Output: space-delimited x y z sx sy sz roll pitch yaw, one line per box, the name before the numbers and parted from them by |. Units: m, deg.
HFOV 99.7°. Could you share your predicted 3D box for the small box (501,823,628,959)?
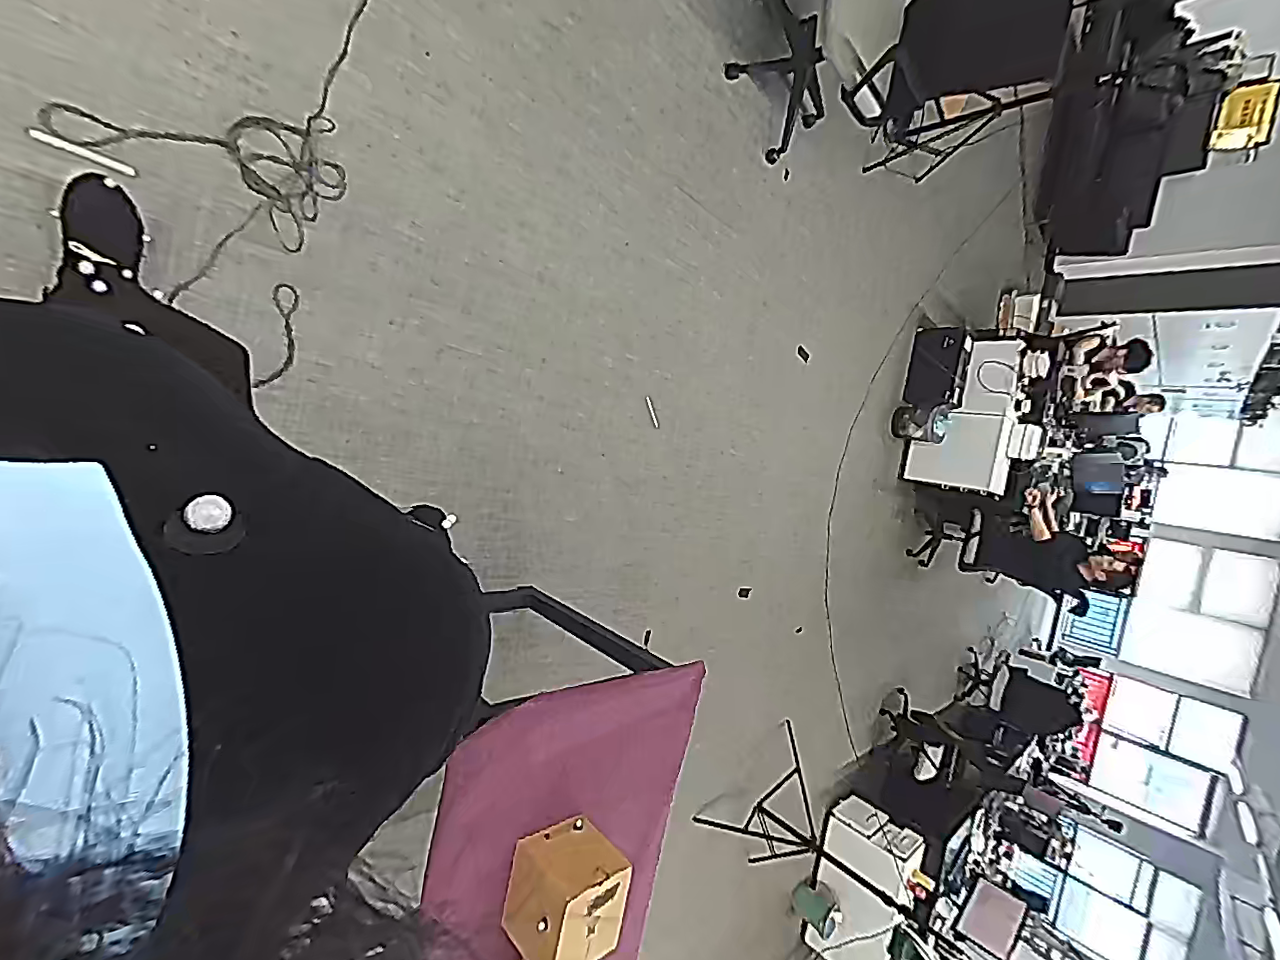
small box | -0.151 0.812 1.059 0.168 0.176 0.179 9 94 -45
